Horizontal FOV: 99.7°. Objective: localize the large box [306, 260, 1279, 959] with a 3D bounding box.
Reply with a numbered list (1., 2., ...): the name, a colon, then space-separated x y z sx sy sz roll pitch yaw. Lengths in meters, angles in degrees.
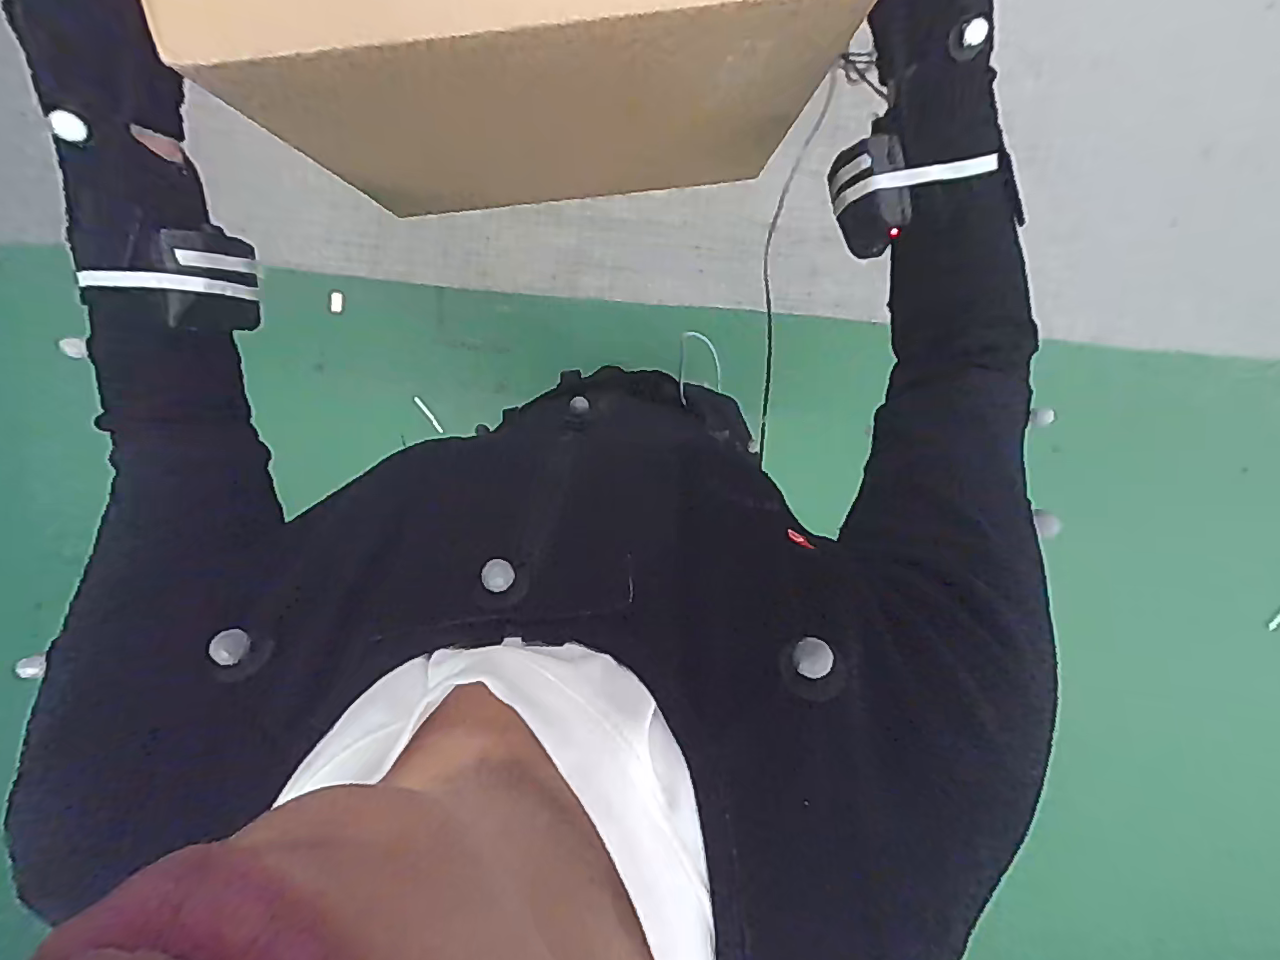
1. large box: 0.122 0.131 0.320 0.320 0.320 0.408 13 69 31
